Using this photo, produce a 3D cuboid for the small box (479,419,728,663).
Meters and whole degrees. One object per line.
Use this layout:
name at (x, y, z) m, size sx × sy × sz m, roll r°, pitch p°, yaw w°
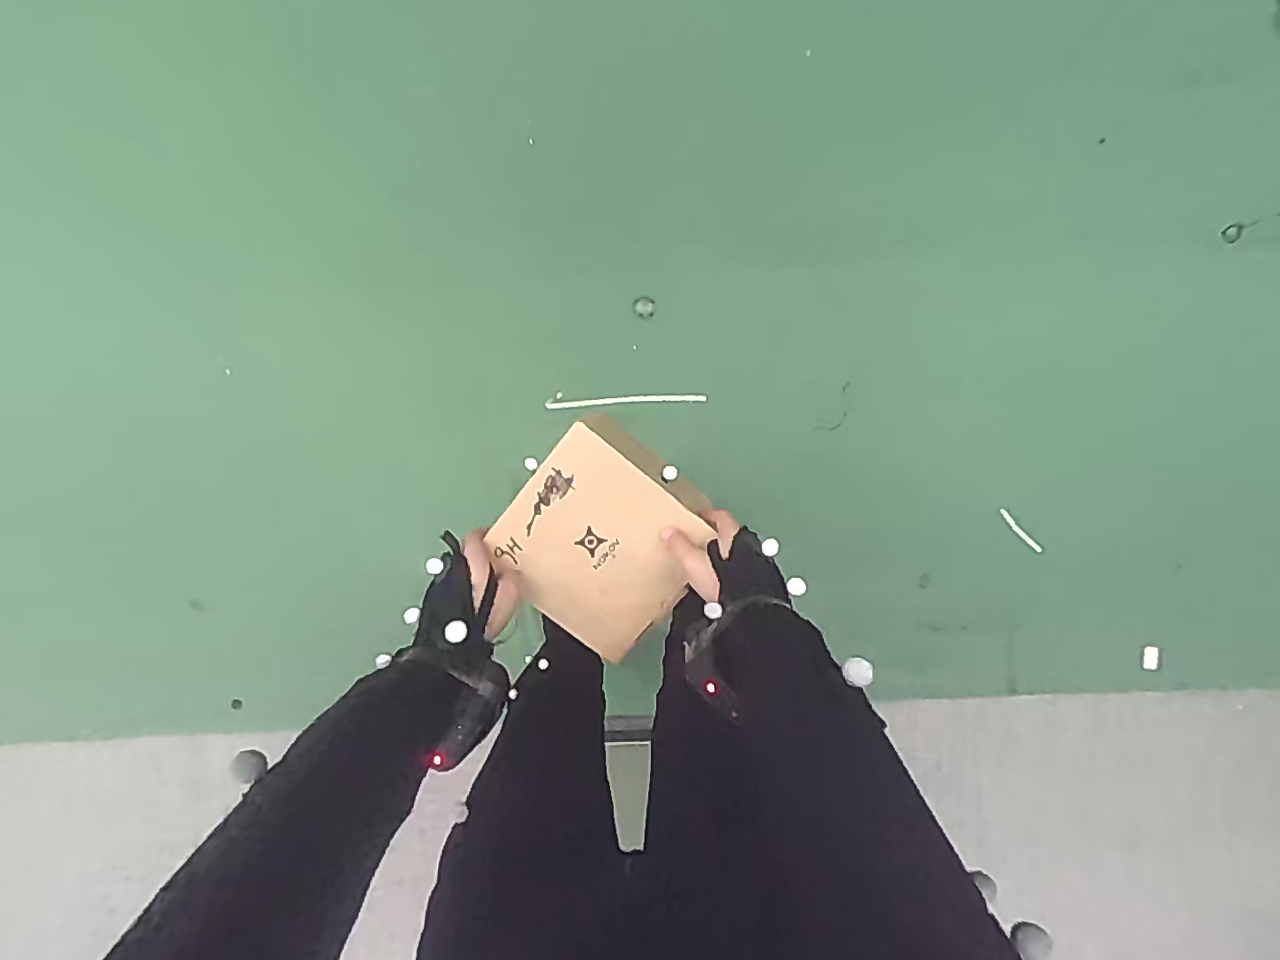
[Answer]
small box at (-0.033, 0.049, 0.577) m, size 0.179 × 0.176 × 0.168 m, roll 39°, pitch 99°, yaw -6°
